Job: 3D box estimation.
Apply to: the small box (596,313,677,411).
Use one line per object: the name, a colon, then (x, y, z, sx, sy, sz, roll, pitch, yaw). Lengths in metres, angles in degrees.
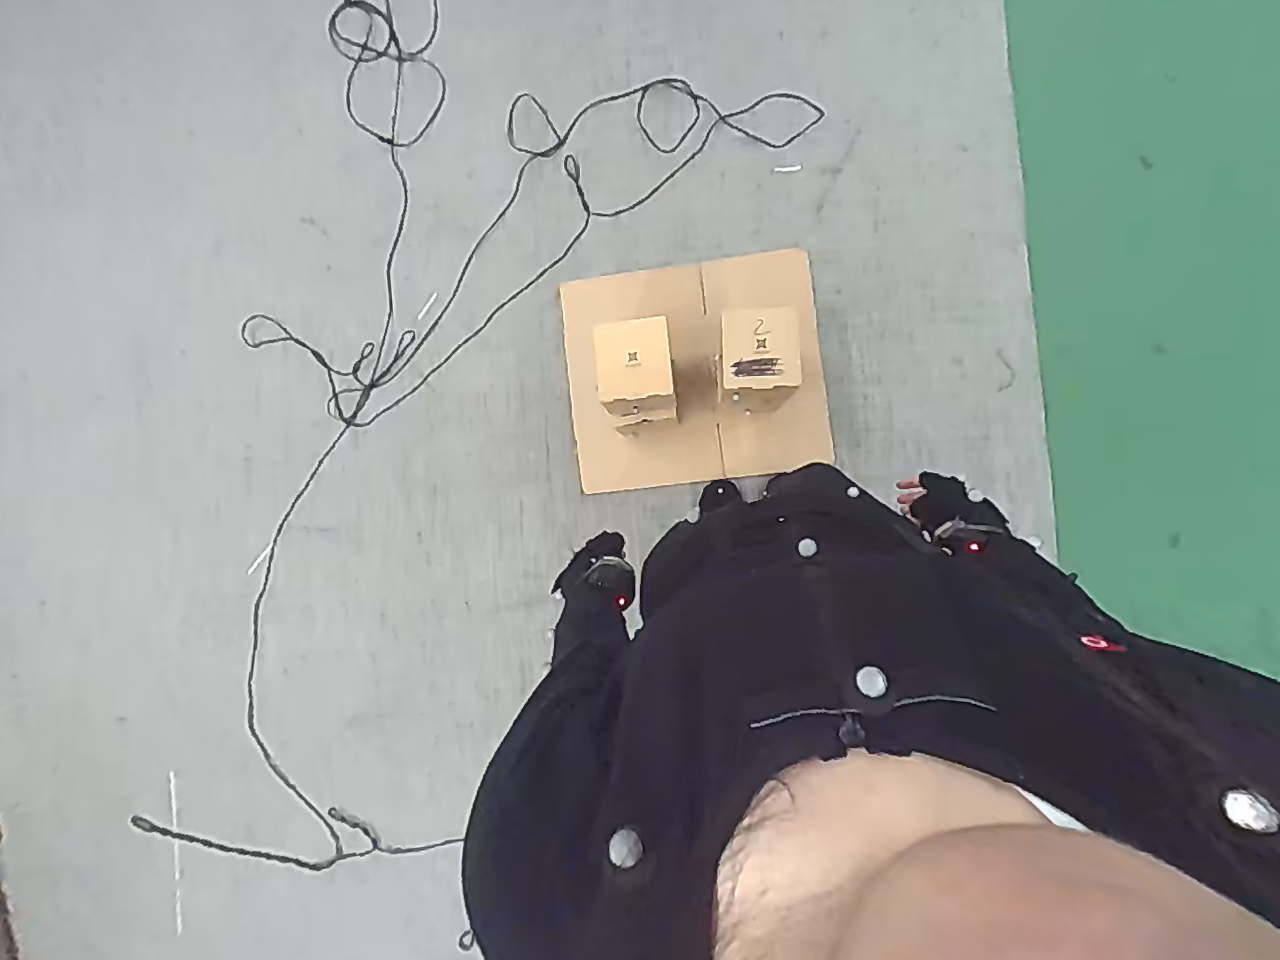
small box: (-0.004, -0.267, 1.254, 0.168, 0.176, 0.179, -6, 88, 5)

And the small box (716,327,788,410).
small box: (0.283, -0.281, 1.394, 0.168, 0.176, 0.179, -2, 89, 6)

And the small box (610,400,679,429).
small box: (0.010, -0.233, 1.416, 0.168, 0.176, 0.179, -9, 88, 5)
